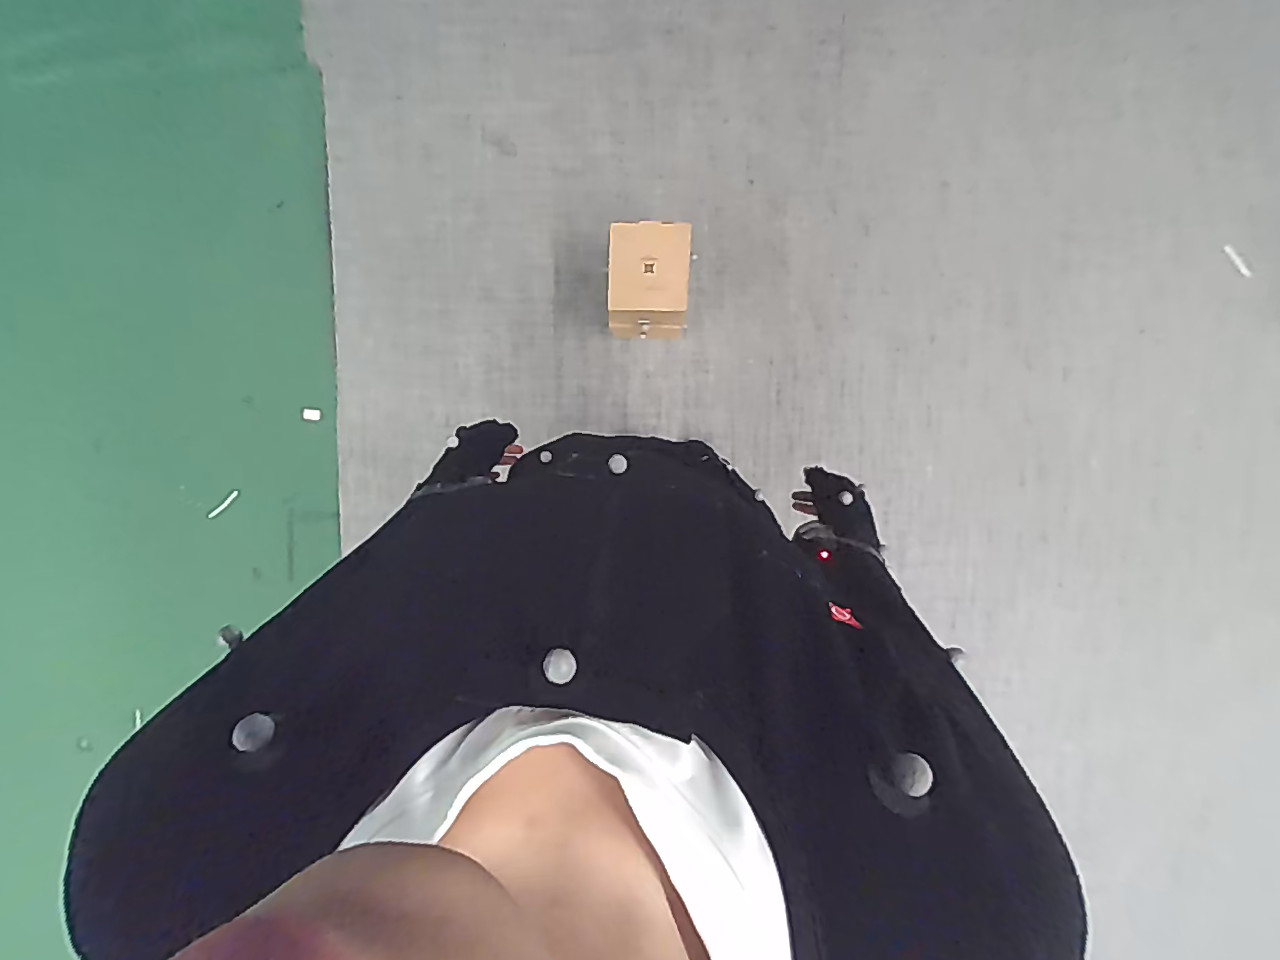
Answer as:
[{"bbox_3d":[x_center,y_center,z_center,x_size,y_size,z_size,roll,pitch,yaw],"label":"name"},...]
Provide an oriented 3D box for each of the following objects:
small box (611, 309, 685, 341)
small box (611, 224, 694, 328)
[{"bbox_3d":[0.026,-0.444,1.343,0.179,0.176,0.168,3,95,4],"label":"small box"},{"bbox_3d":[0.031,-0.438,1.181,0.168,0.176,0.179,2,96,5],"label":"small box"}]
